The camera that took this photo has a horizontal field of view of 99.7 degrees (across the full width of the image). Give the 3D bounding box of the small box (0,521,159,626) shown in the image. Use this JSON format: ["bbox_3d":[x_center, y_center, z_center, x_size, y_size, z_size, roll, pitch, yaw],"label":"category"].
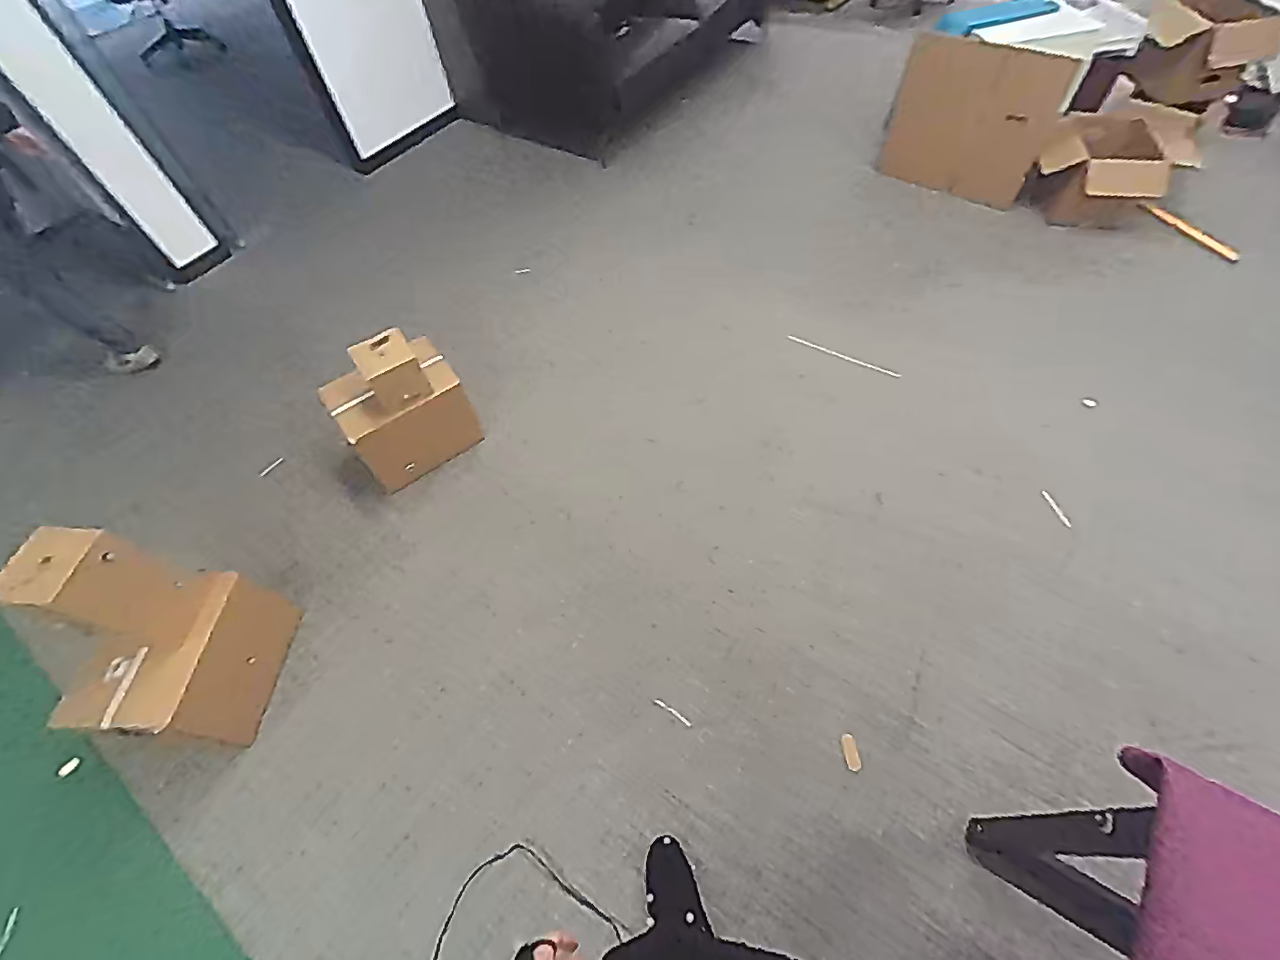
[{"bbox_3d":[-1.252,0.212,1.217,0.168,0.176,0.179,3,57,7],"label":"small box"}]

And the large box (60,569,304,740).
[{"bbox_3d":[-1.239,0.495,1.524,0.320,0.320,0.408,-2,58,5],"label":"large box"}]

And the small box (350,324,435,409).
[{"bbox_3d":[-0.798,-0.365,1.755,0.168,0.176,0.179,-32,62,-16],"label":"small box"}]
